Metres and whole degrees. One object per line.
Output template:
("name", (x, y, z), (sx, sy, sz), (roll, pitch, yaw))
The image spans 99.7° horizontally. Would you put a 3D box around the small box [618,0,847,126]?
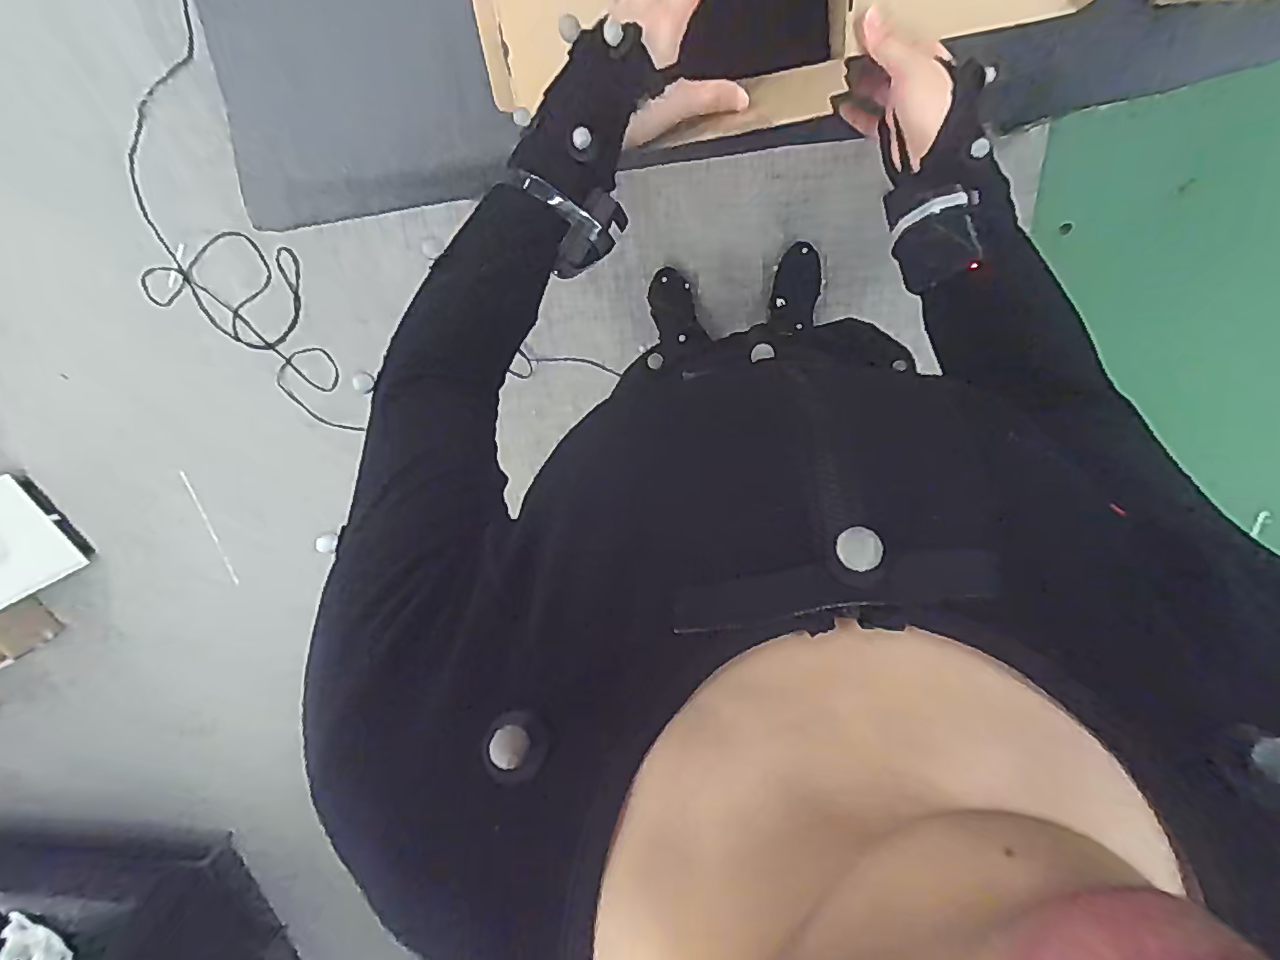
("small box", (0.076, -0.429, 0.476), (0.179, 0.176, 0.168), (-4, 117, 11))
